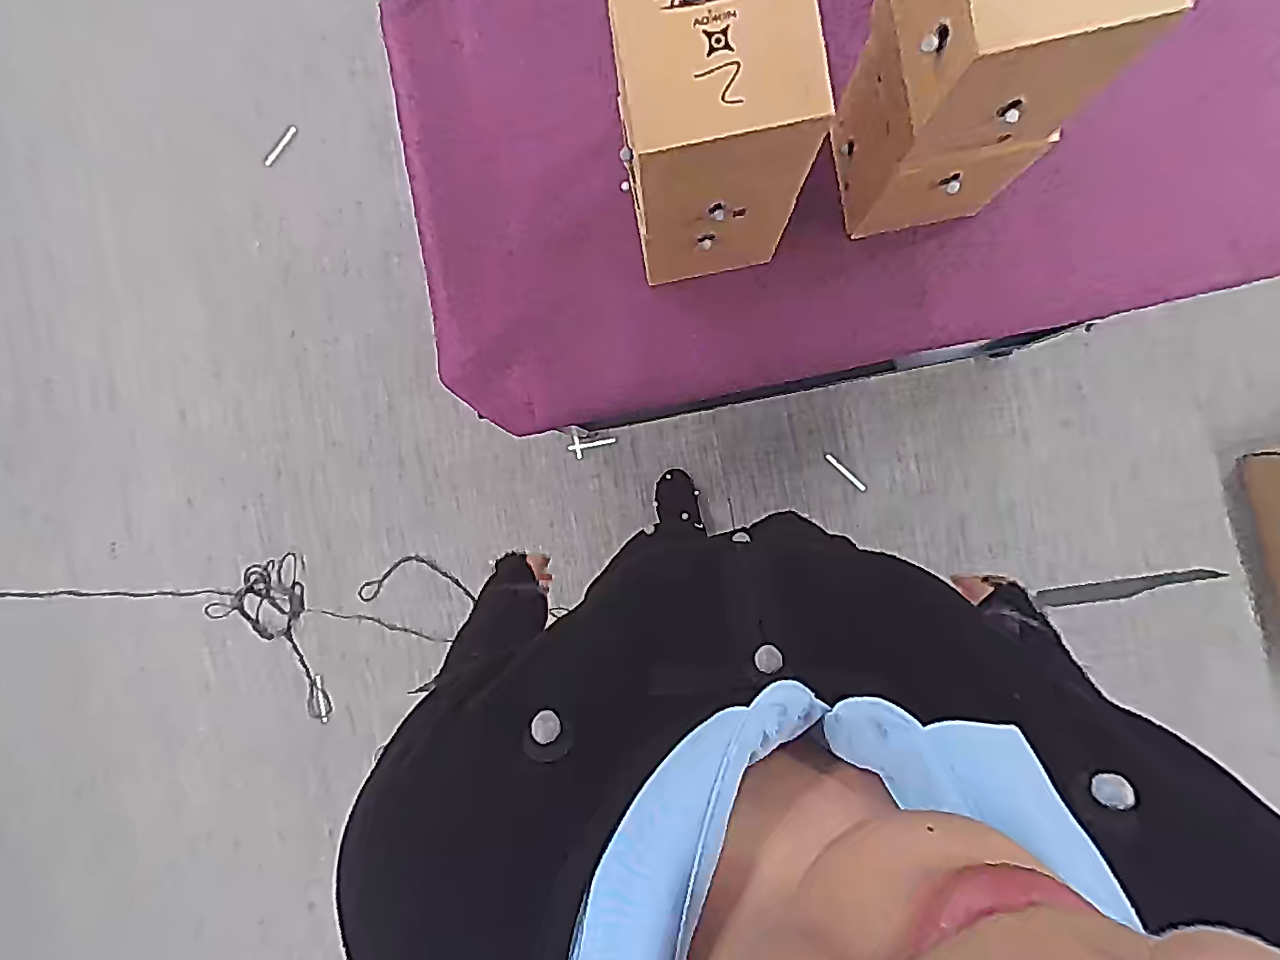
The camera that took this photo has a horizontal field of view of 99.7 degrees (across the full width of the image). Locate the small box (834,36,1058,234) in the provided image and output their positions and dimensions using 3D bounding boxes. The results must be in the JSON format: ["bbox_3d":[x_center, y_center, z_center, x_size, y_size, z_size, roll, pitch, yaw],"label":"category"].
[{"bbox_3d":[0.362,-0.432,0.670,0.179,0.176,0.168,-9,90,4],"label":"small box"}]

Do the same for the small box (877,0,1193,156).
[{"bbox_3d":[0.343,-0.437,0.506,0.168,0.176,0.179,-9,90,4],"label":"small box"}]

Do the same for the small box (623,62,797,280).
[{"bbox_3d":[0.084,-0.373,0.688,0.179,0.176,0.168,-10,90,3],"label":"small box"}]
